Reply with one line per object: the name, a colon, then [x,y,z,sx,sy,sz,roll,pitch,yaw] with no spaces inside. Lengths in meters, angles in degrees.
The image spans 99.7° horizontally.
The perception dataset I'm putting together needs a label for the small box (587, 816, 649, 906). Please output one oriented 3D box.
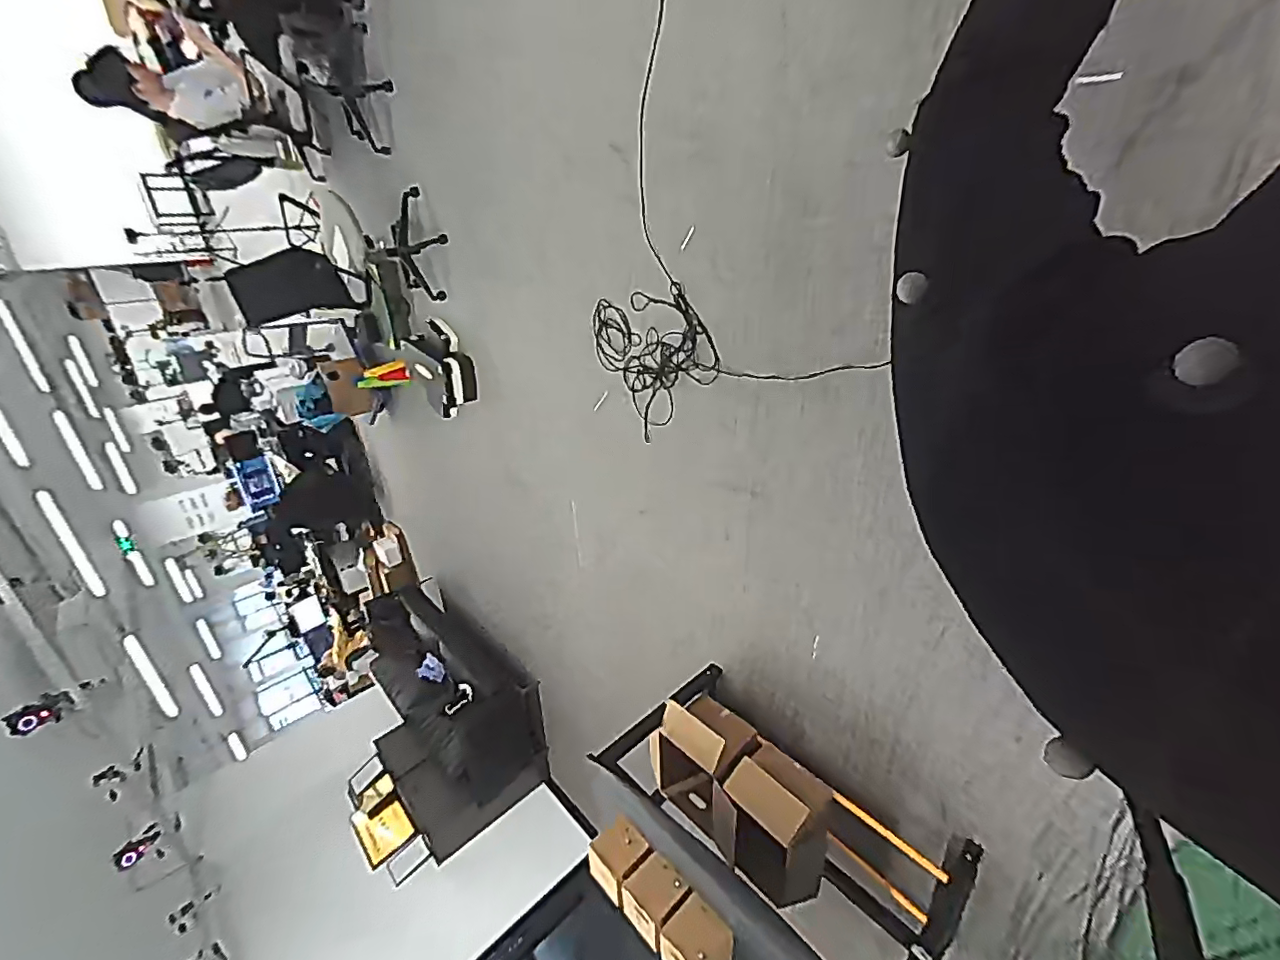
small box: [-0.078,1.408,2.008,0.168,0.176,0.179,25,126,42]
